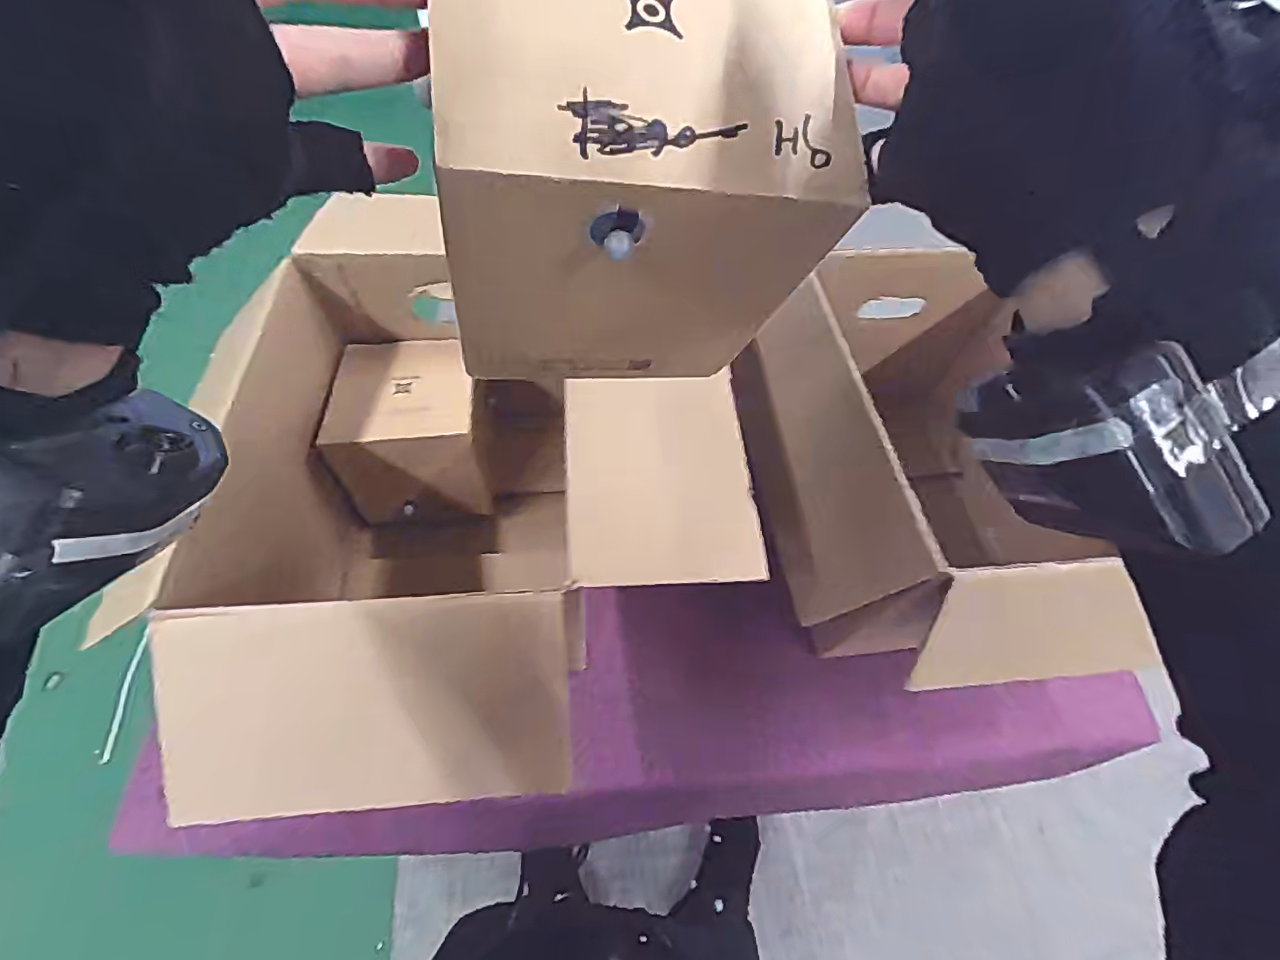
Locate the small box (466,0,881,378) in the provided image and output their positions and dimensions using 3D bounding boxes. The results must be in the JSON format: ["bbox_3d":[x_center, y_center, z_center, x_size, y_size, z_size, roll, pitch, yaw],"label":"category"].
[{"bbox_3d":[-0.006,-0.173,0.297,0.168,0.176,0.179,-3,77,-14],"label":"small box"}]
